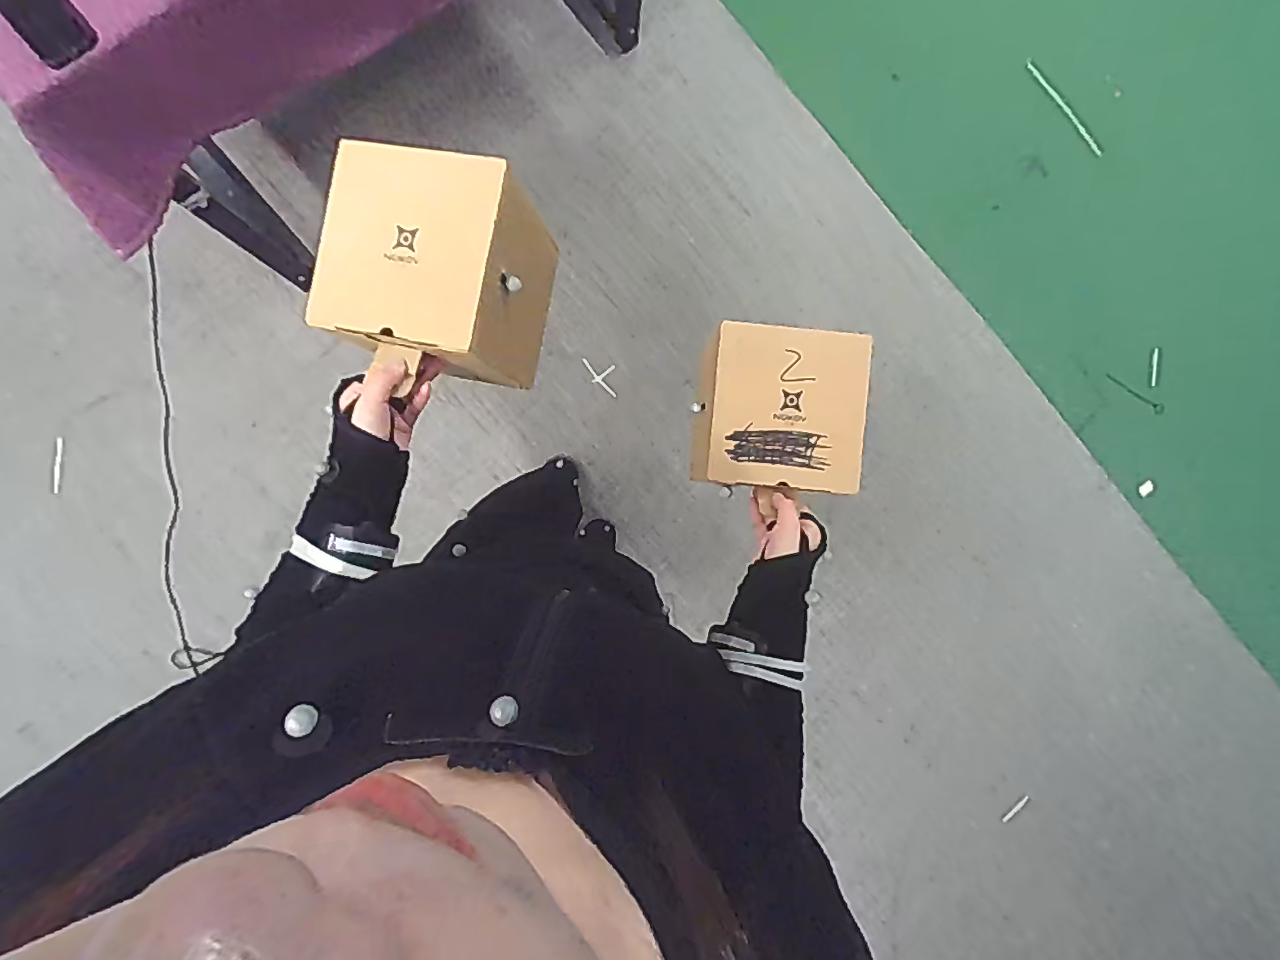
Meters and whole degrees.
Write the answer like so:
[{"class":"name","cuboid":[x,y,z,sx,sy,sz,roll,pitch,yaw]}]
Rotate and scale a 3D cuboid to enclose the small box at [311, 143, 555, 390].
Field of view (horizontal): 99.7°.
[{"class":"small box","cuboid":[-0.198,-0.207,0.567,0.168,0.176,0.179,12,91,6]}]
